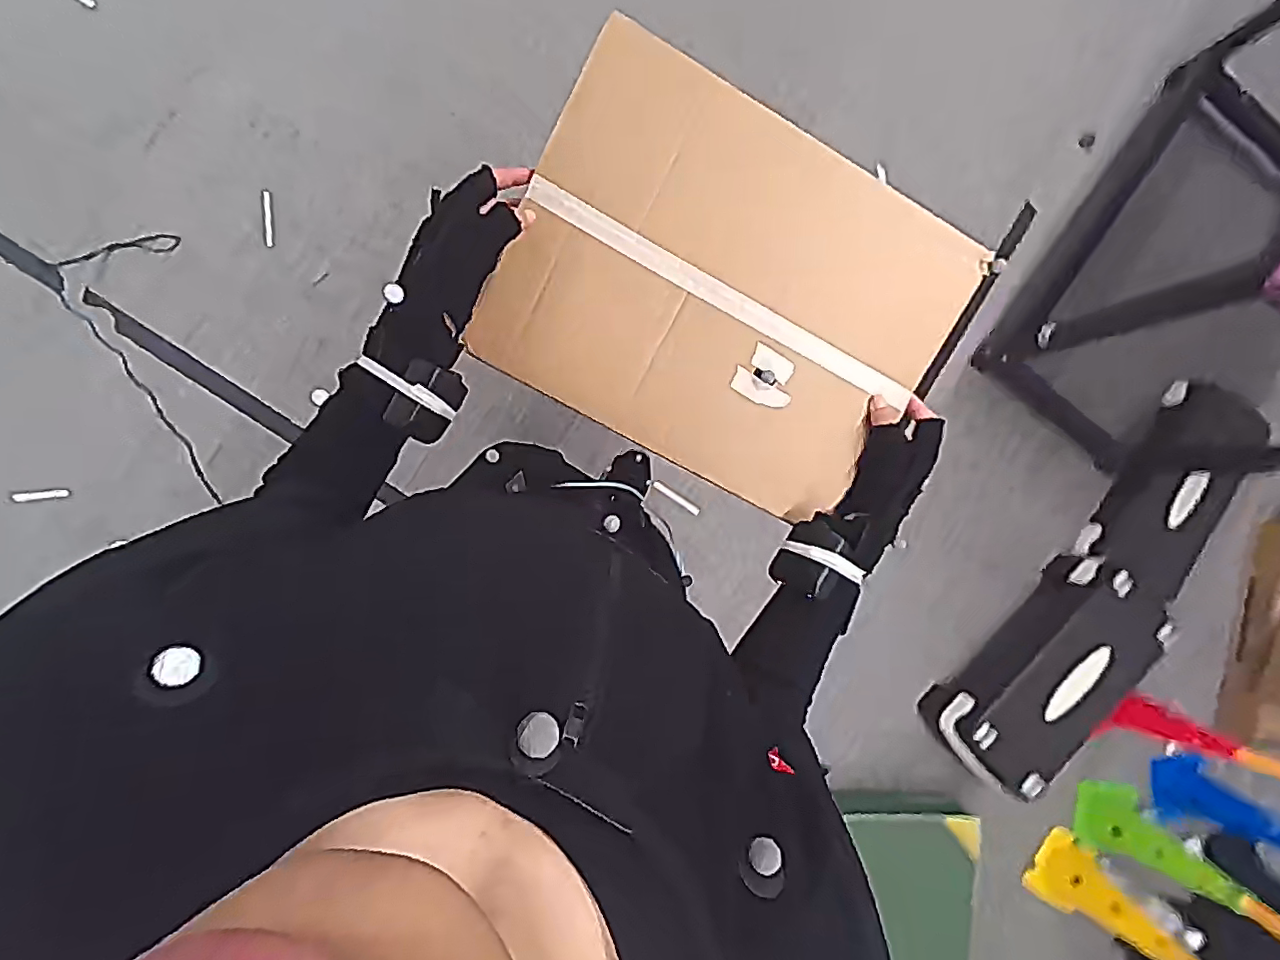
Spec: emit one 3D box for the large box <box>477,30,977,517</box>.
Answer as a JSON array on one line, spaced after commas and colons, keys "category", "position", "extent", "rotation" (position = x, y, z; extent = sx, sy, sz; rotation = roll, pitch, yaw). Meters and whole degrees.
[{"category": "large box", "position": [0.075, -0.205, 0.664], "extent": [0.408, 0.320, 0.320], "rotation": [27, 99, -8]}]
